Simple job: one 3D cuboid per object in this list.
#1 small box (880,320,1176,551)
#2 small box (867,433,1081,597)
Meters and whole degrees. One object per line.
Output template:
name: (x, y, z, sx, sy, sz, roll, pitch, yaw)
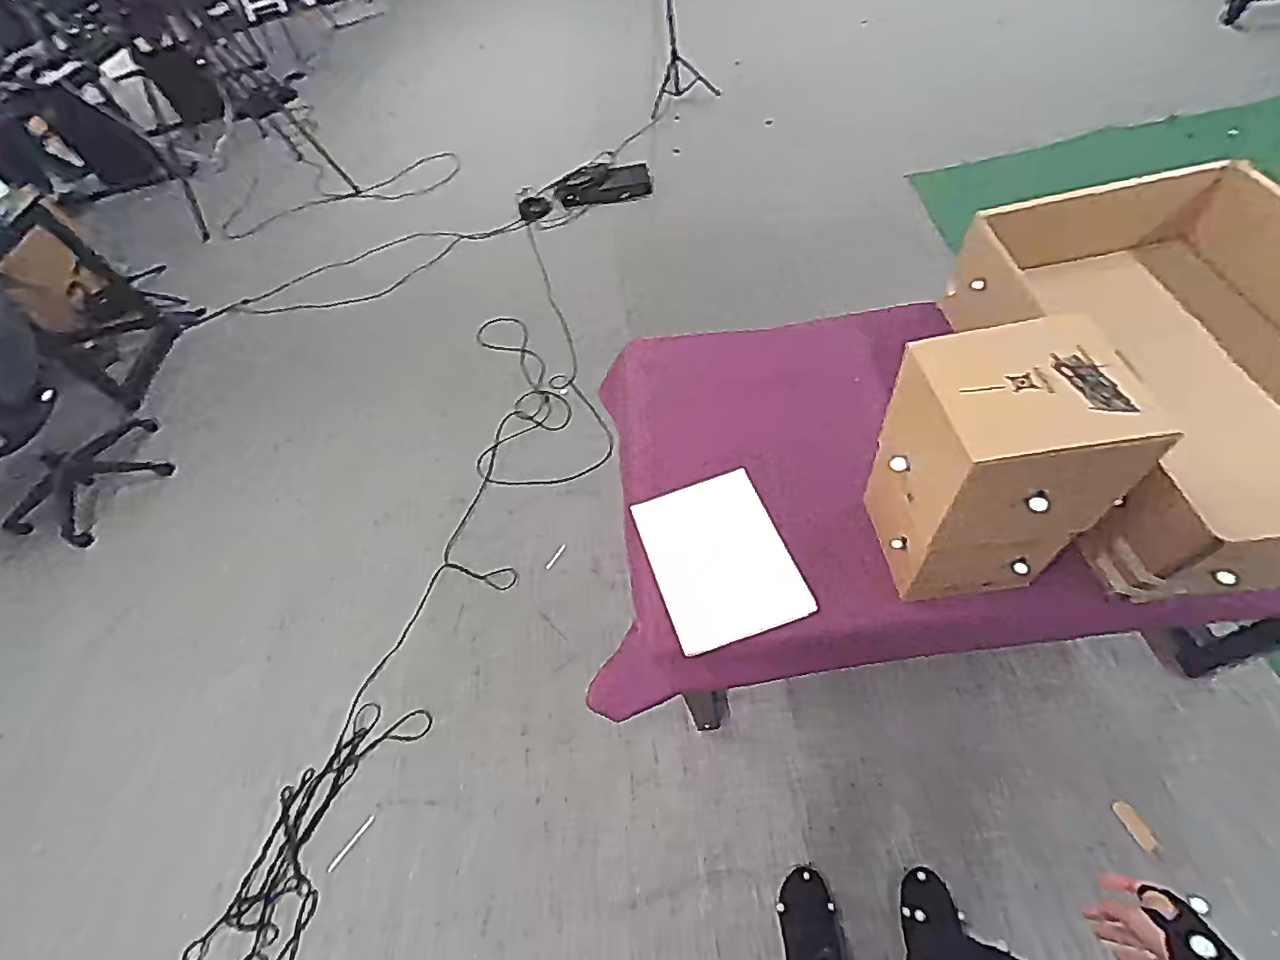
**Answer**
small box: (0.383, -0.041, 0.578, 0.179, 0.176, 0.168, -8, 53, 6)
small box: (0.417, 0.044, 0.715, 0.168, 0.176, 0.179, -8, 53, 6)
